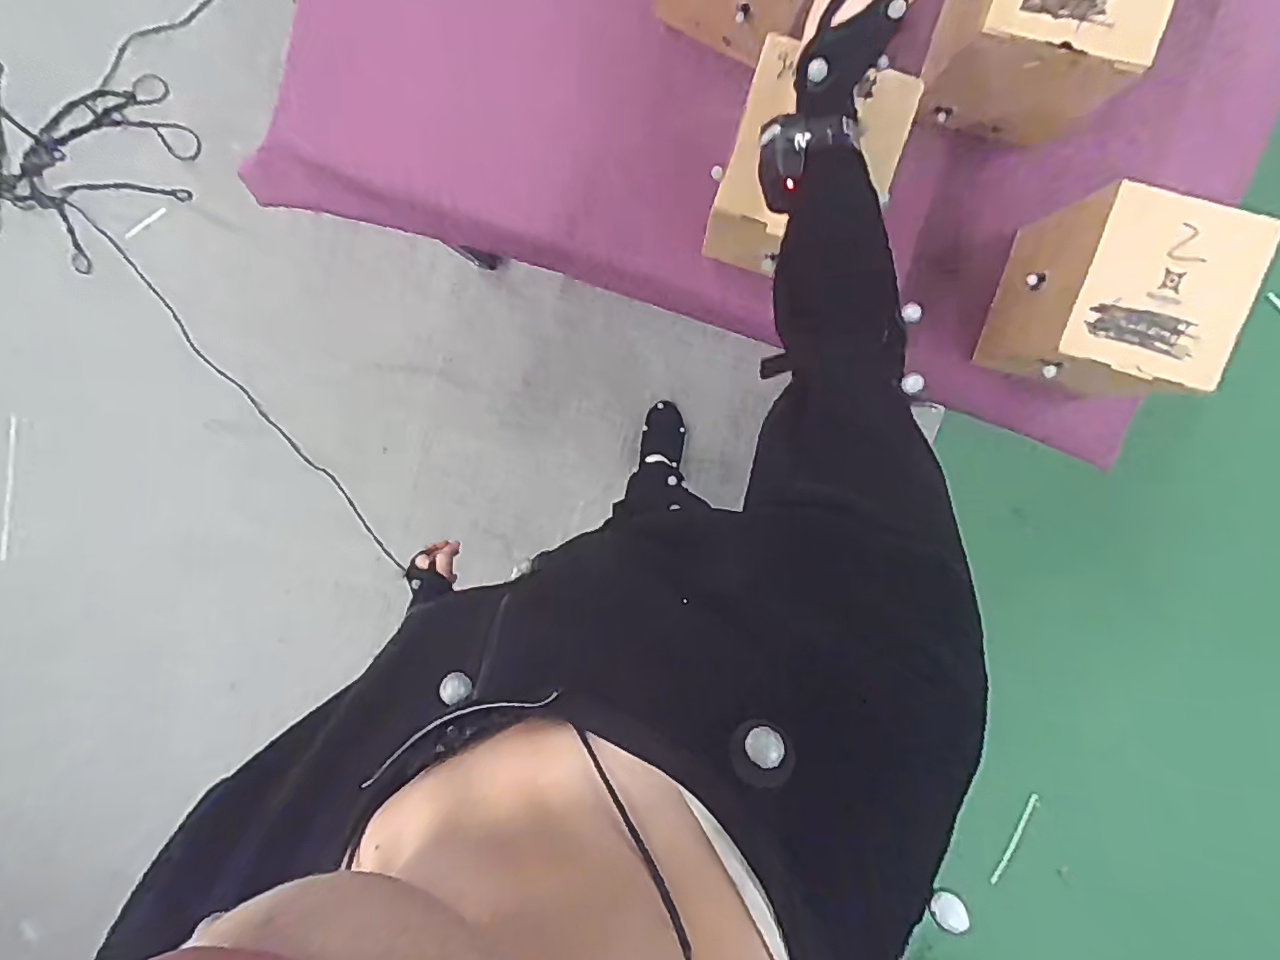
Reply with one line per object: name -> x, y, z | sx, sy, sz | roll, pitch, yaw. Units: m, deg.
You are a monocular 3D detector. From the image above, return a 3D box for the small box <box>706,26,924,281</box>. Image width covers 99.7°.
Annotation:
small box -> 0.178, -0.347, 0.616 | 0.168, 0.176, 0.179 | 18, 98, 0

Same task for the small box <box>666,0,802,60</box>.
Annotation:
small box -> 0.123, -0.612, 0.580 | 0.168, 0.176, 0.179 | 27, 99, -2

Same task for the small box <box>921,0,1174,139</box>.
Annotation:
small box -> 0.432, -0.508, 0.580 | 0.168, 0.176, 0.179 | 16, 98, 0
